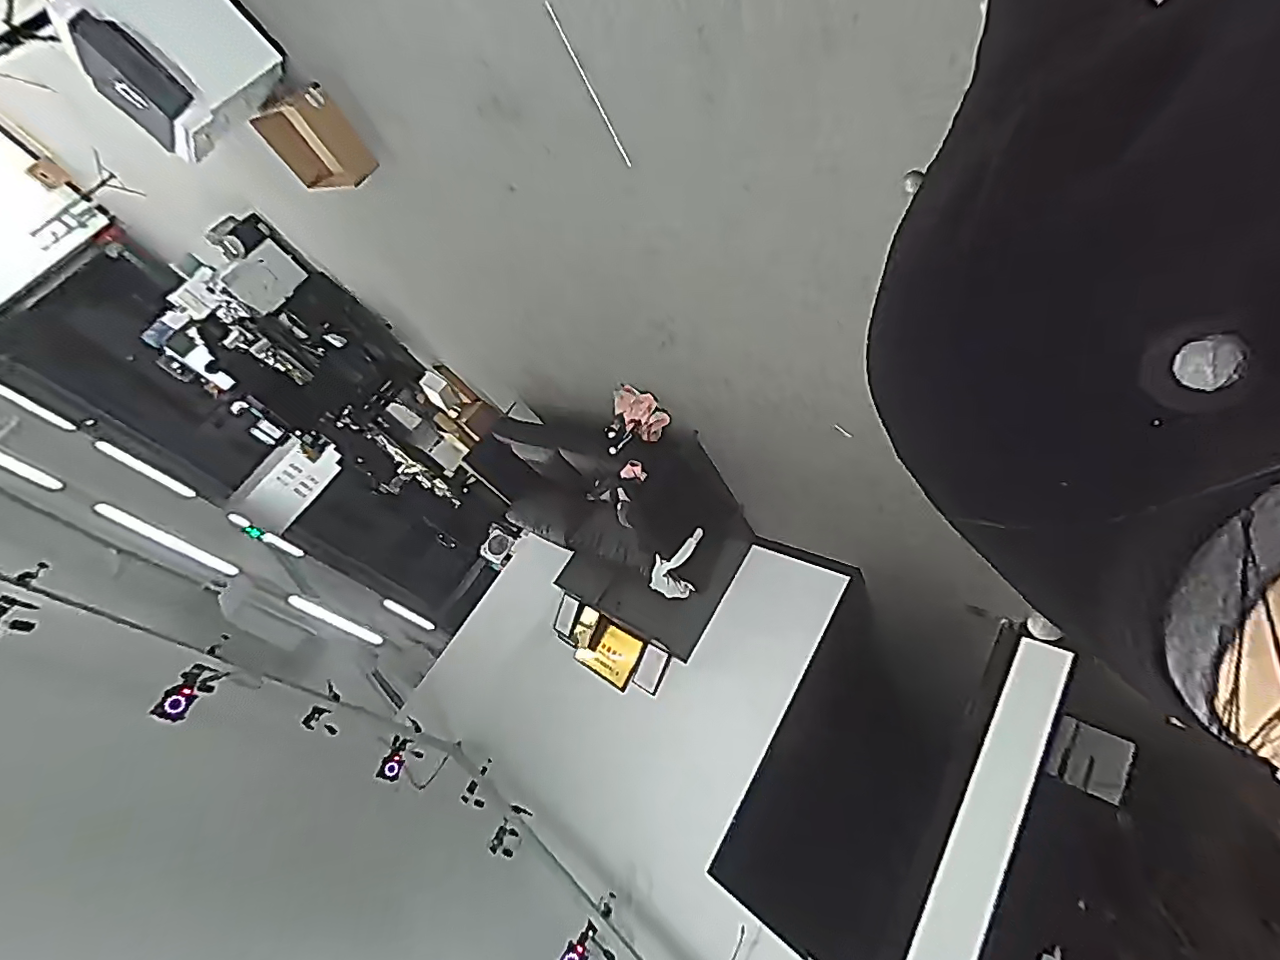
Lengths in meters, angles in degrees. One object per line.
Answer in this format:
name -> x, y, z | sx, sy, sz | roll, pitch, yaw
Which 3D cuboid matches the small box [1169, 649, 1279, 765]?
small box -> 1.372, 0.512, 1.244 | 0.179, 0.176, 0.168 | 17, 155, 42
